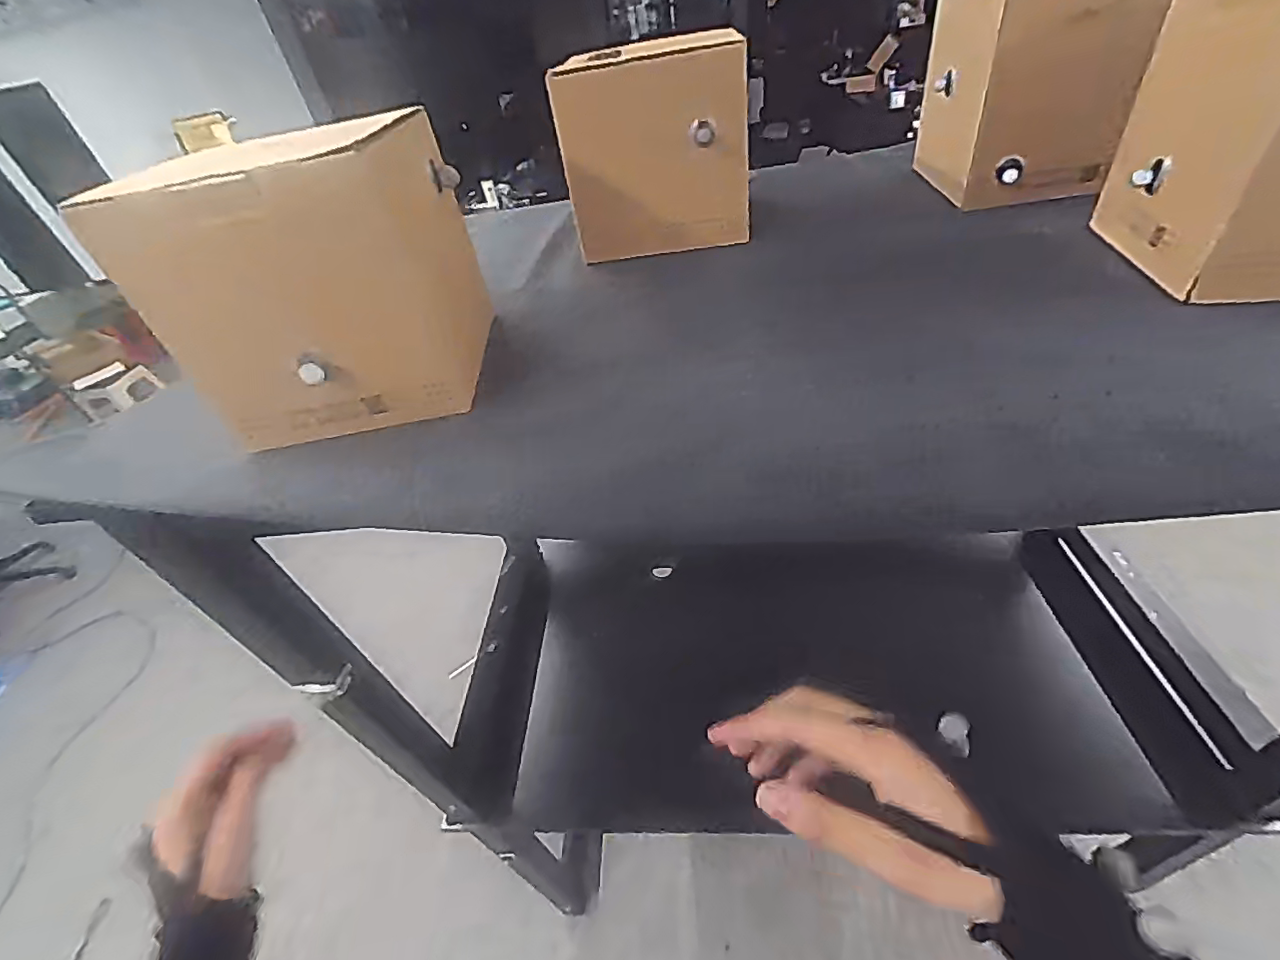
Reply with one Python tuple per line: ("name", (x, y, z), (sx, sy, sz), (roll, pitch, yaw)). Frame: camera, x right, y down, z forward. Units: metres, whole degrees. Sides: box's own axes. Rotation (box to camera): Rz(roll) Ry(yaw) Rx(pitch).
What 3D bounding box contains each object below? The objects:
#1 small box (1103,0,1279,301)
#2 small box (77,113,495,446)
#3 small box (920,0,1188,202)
("small box", (0.435, -0.221, 0.322), (0.179, 0.176, 0.168), (1, 41, 17))
("small box", (-0.218, -0.150, 0.401), (0.168, 0.176, 0.179), (-11, 41, 2))
("small box", (0.390, -0.382, 0.520), (0.168, 0.176, 0.179), (-3, 41, 11))
